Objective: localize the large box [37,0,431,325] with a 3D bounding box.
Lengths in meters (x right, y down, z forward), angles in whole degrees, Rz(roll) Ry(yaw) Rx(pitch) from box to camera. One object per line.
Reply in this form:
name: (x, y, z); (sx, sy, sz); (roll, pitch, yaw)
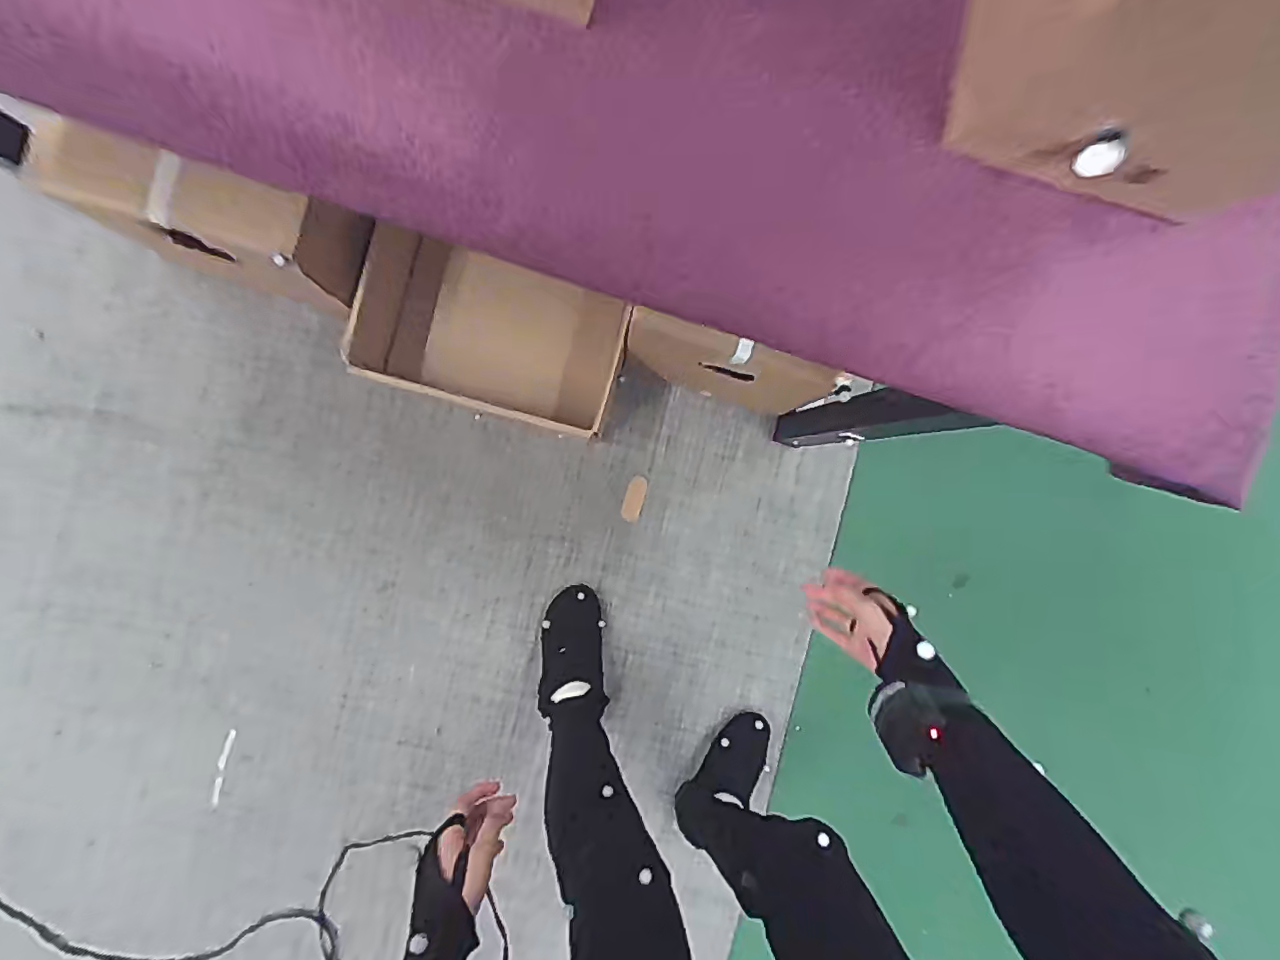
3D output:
large box: (-0.543, -0.499, 0.806); (0.320, 0.320, 0.408); (15, 90, -7)
